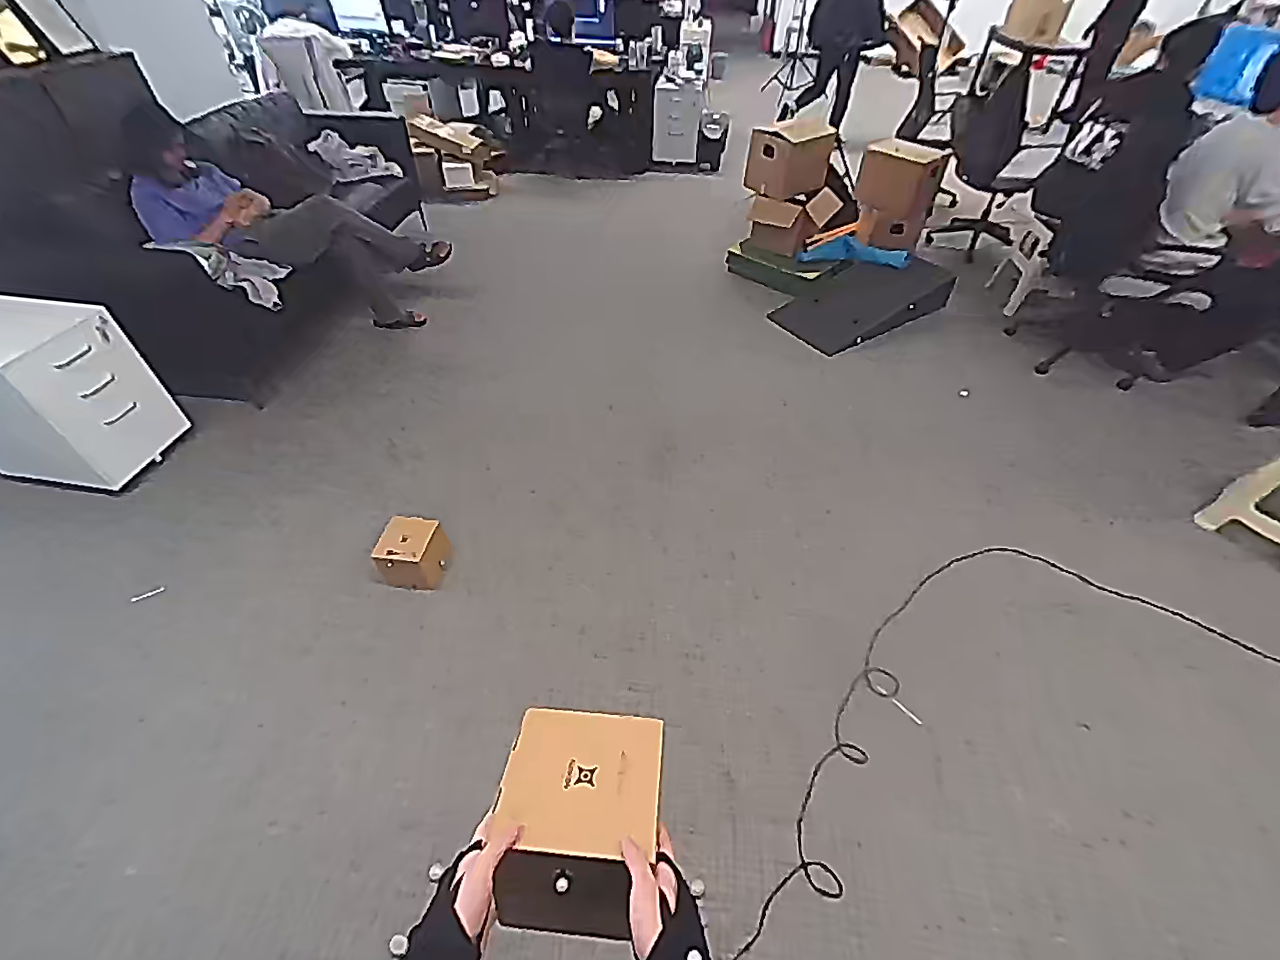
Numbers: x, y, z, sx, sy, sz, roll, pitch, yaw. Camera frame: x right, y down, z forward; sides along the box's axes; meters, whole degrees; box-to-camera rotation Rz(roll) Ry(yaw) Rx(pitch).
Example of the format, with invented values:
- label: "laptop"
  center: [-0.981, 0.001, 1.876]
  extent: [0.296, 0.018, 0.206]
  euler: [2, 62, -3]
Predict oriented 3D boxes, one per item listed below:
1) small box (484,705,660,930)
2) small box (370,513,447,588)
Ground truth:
- label: "small box"
  center: [-0.069, 0.399, 0.646]
  extent: [0.179, 0.176, 0.168]
  euler: [4, 29, 2]
- label: "small box"
  center: [-0.774, 0.239, 1.831]
  extent: [0.168, 0.176, 0.179]
  euler: [6, 46, 5]
